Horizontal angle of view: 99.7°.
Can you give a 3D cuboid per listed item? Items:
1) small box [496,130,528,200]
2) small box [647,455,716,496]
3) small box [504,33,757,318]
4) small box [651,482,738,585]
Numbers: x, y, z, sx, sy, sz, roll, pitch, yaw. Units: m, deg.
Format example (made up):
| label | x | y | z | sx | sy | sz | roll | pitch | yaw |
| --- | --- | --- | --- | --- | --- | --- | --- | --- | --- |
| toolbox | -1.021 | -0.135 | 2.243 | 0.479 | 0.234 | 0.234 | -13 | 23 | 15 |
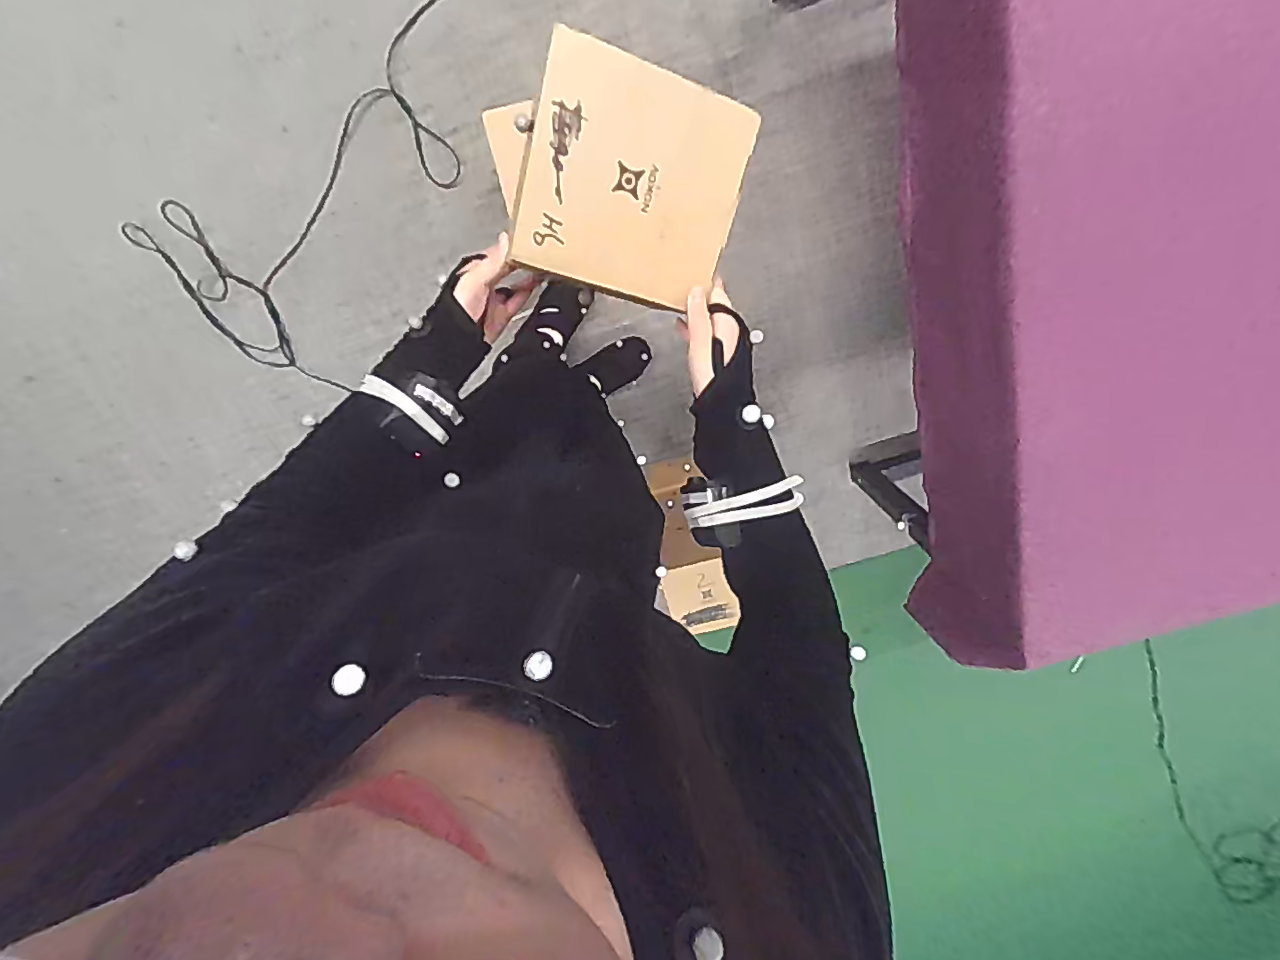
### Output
| label | x | y | z | sx | sy | sz | roll | pitch | yaw |
| --- | --- | --- | --- | --- | --- | --- | --- | --- | --- |
| small box | -0.179 | -0.631 | 1.133 | 0.179 | 0.176 | 0.168 | -14 | 115 | 2 |
| small box | 0.117 | 0.045 | 1.458 | 0.168 | 0.176 | 0.179 | -13 | 115 | 3 |
| small box | -0.024 | -0.265 | 0.516 | 0.179 | 0.176 | 0.168 | 11 | 106 | -20 |
| small box | 0.127 | 0.121 | 1.315 | 0.168 | 0.176 | 0.179 | -15 | 116 | 5 |
